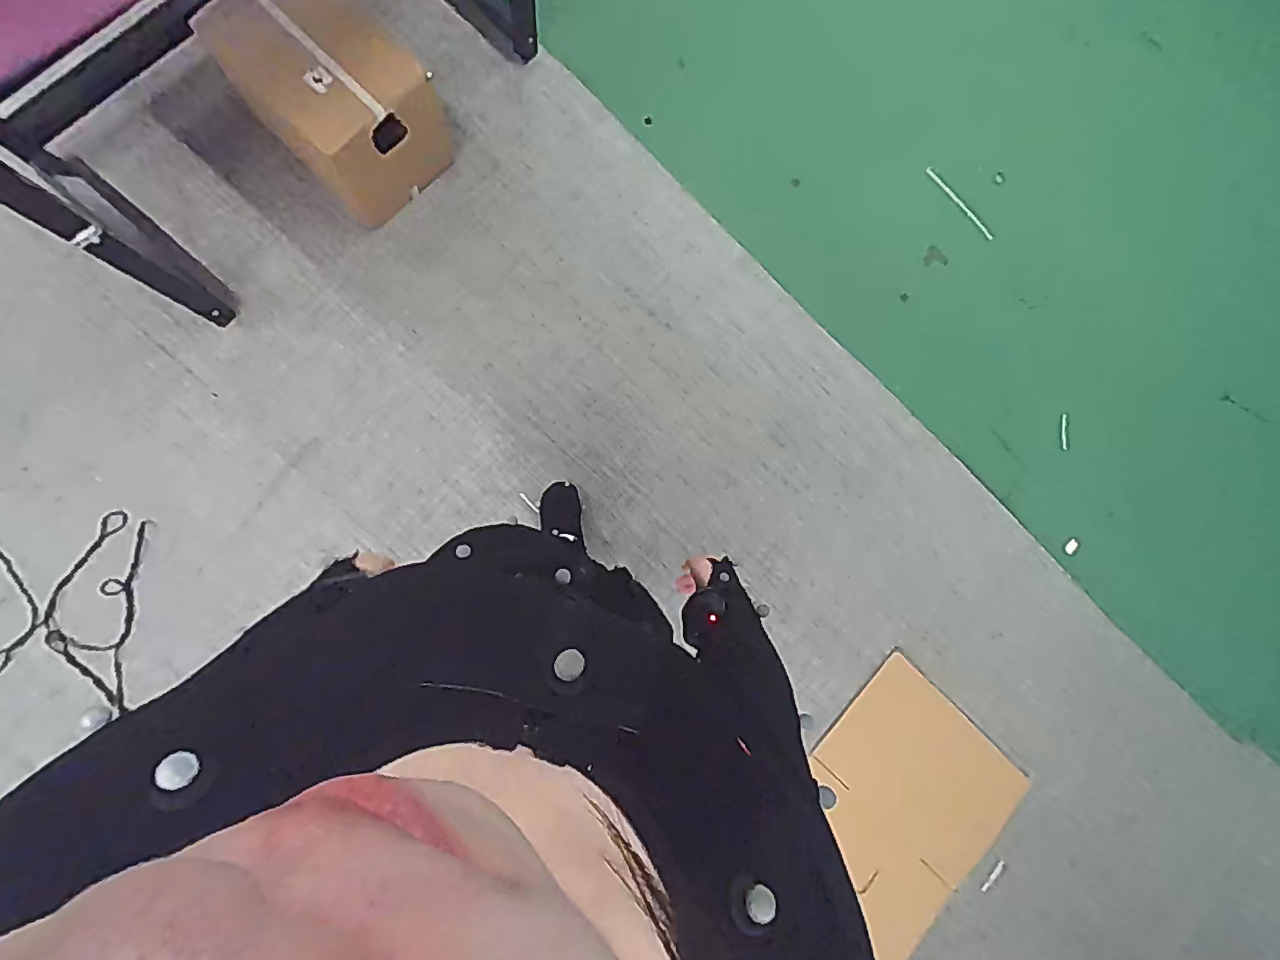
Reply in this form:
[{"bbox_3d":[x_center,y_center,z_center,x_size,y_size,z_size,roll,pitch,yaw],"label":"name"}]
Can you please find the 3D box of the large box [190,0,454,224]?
[{"bbox_3d":[-0.735,-0.940,1.326,0.408,0.320,0.320,43,82,-5],"label":"large box"}]
